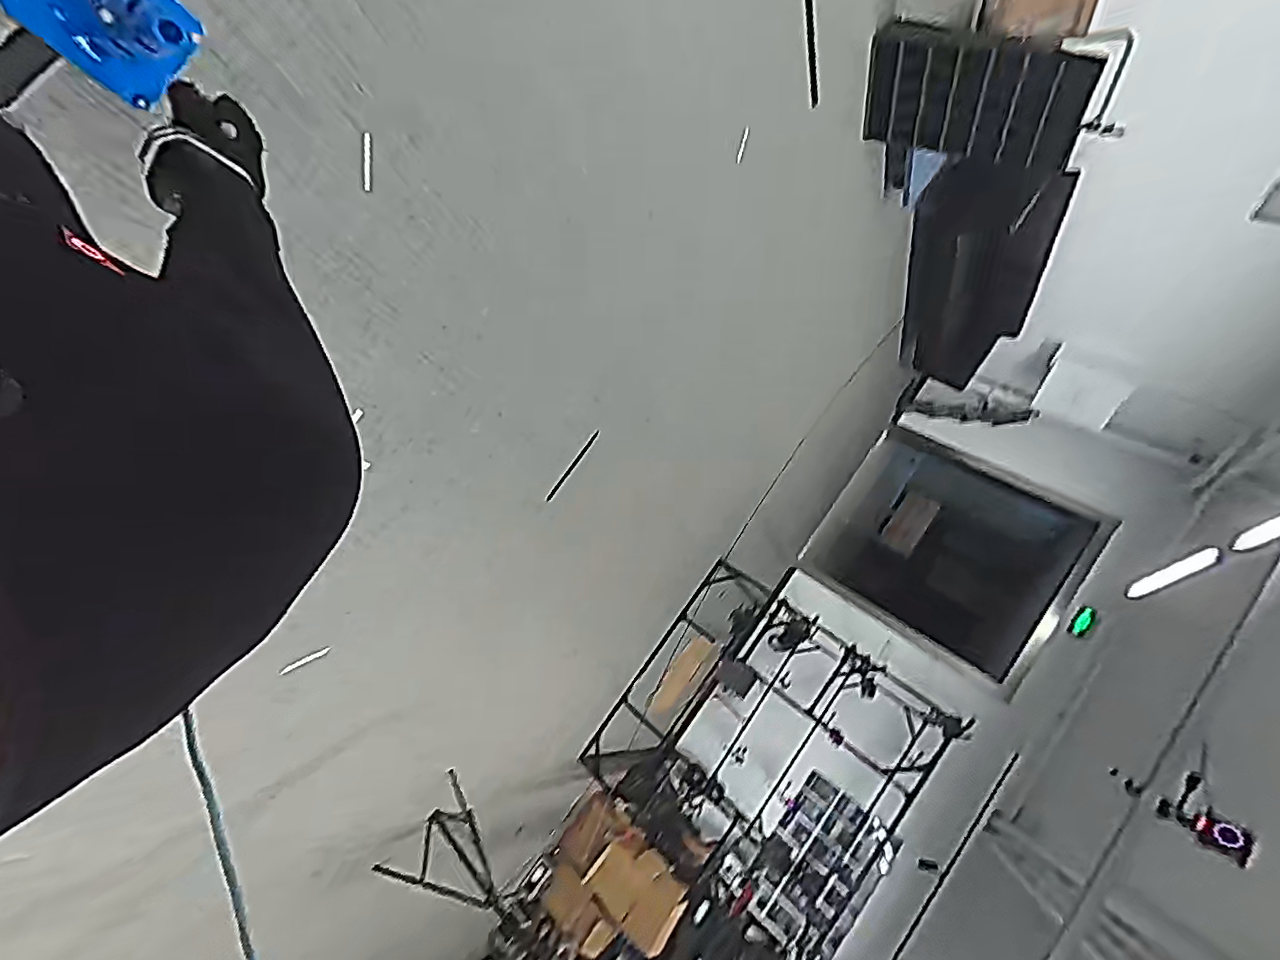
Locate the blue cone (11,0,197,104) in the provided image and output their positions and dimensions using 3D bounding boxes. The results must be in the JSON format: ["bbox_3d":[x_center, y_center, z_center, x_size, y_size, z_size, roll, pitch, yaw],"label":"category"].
[{"bbox_3d":[-0.776,-0.700,0.829,0.193,0.380,0.192,-55,151,-4],"label":"blue cone"}]
